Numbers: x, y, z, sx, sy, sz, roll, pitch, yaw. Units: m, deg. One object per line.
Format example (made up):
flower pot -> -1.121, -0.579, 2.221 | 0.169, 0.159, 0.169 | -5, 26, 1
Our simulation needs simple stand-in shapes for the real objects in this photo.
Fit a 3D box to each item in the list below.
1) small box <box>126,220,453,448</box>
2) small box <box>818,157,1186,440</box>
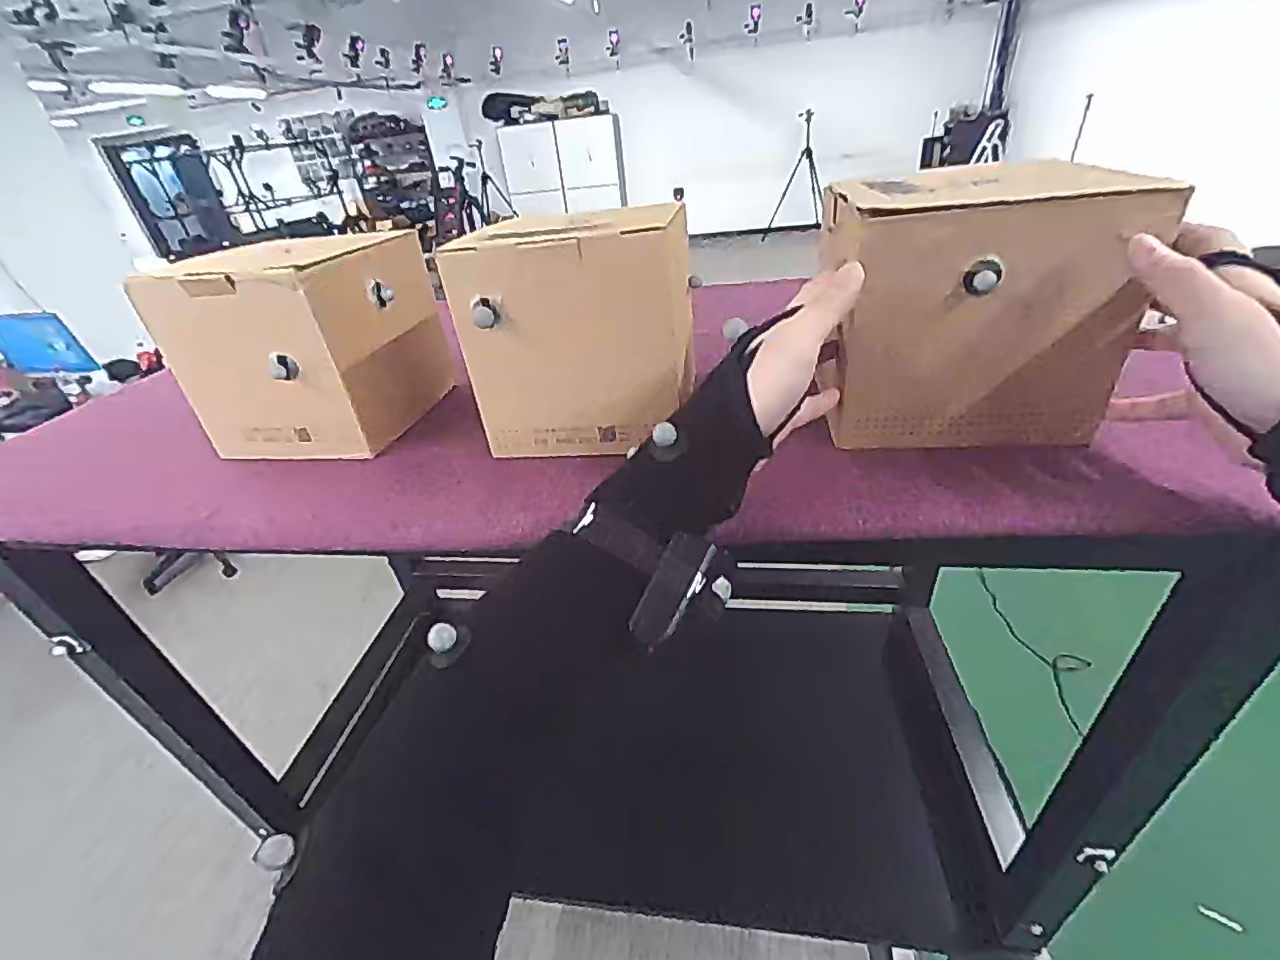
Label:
small box -> -0.305, -0.140, 0.520 | 0.168, 0.176, 0.179 | 2, 32, 12
small box -> 0.237, -0.140, 0.419 | 0.179, 0.176, 0.168 | 0, 34, 10
